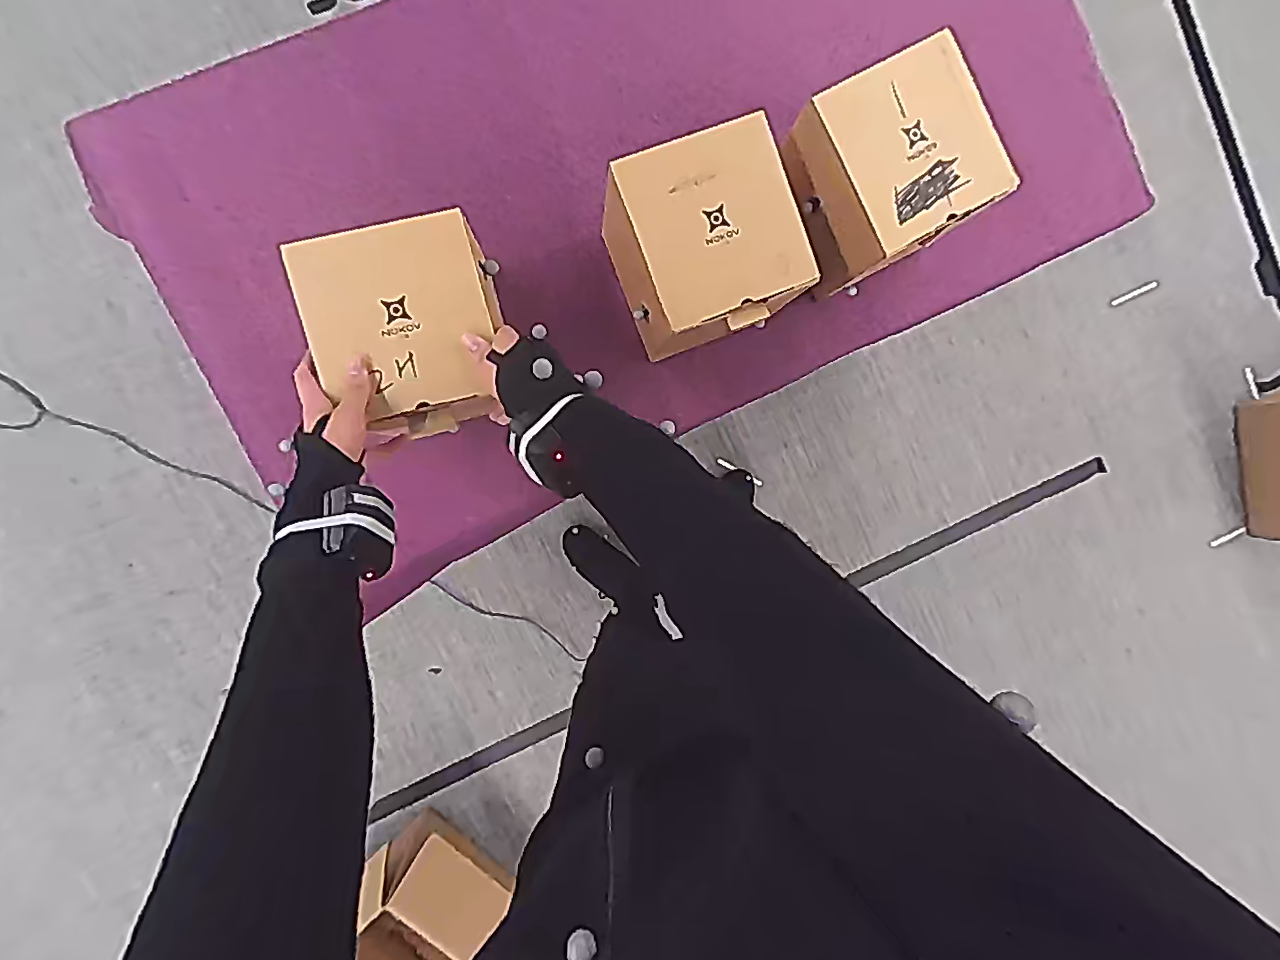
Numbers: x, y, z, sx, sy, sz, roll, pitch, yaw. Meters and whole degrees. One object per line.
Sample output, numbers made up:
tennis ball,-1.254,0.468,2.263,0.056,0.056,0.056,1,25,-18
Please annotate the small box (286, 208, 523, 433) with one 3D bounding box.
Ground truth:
small box,-0.231,-0.154,0.579,0.168,0.176,0.179,-15,95,-5

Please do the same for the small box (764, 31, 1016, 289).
small box,0.271,-0.342,0.624,0.168,0.176,0.179,-29,94,-4
